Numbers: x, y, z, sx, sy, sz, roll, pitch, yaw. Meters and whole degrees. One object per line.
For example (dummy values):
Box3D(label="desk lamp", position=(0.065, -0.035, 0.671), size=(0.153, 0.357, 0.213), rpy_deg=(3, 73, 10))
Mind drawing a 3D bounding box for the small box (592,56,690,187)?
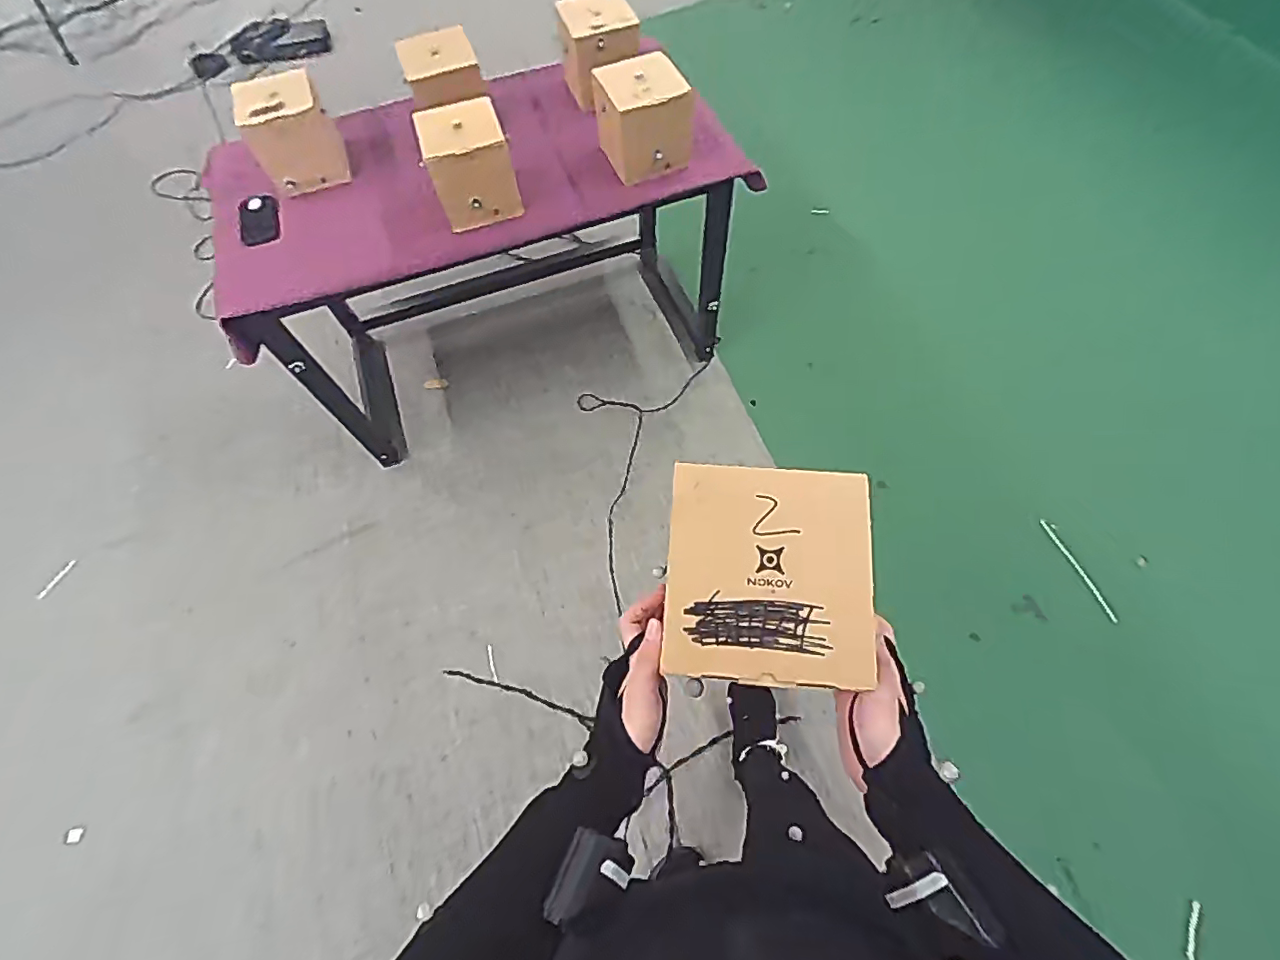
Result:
Box3D(label="small box", position=(0.003, -0.803, 1.220), size=(0.168, 0.176, 0.179), rpy_deg=(-21, 65, -6))

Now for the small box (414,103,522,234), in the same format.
Box3D(label="small box", position=(-0.370, -0.674, 1.177), size=(0.168, 0.176, 0.179), rpy_deg=(-18, 63, -6))

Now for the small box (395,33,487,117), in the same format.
Box3D(label="small box", position=(-0.467, -0.931, 1.313), size=(0.168, 0.176, 0.179), rpy_deg=(-20, 65, -7))

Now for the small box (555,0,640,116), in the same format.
Box3D(label="small box", position=(-0.103, -1.059, 1.359), size=(0.168, 0.176, 0.179), rpy_deg=(-19, 64, -6))

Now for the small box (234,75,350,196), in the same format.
Box3D(label="small box", position=(-0.798, -0.788, 1.254), size=(0.168, 0.176, 0.179), rpy_deg=(-20, 64, -8))
